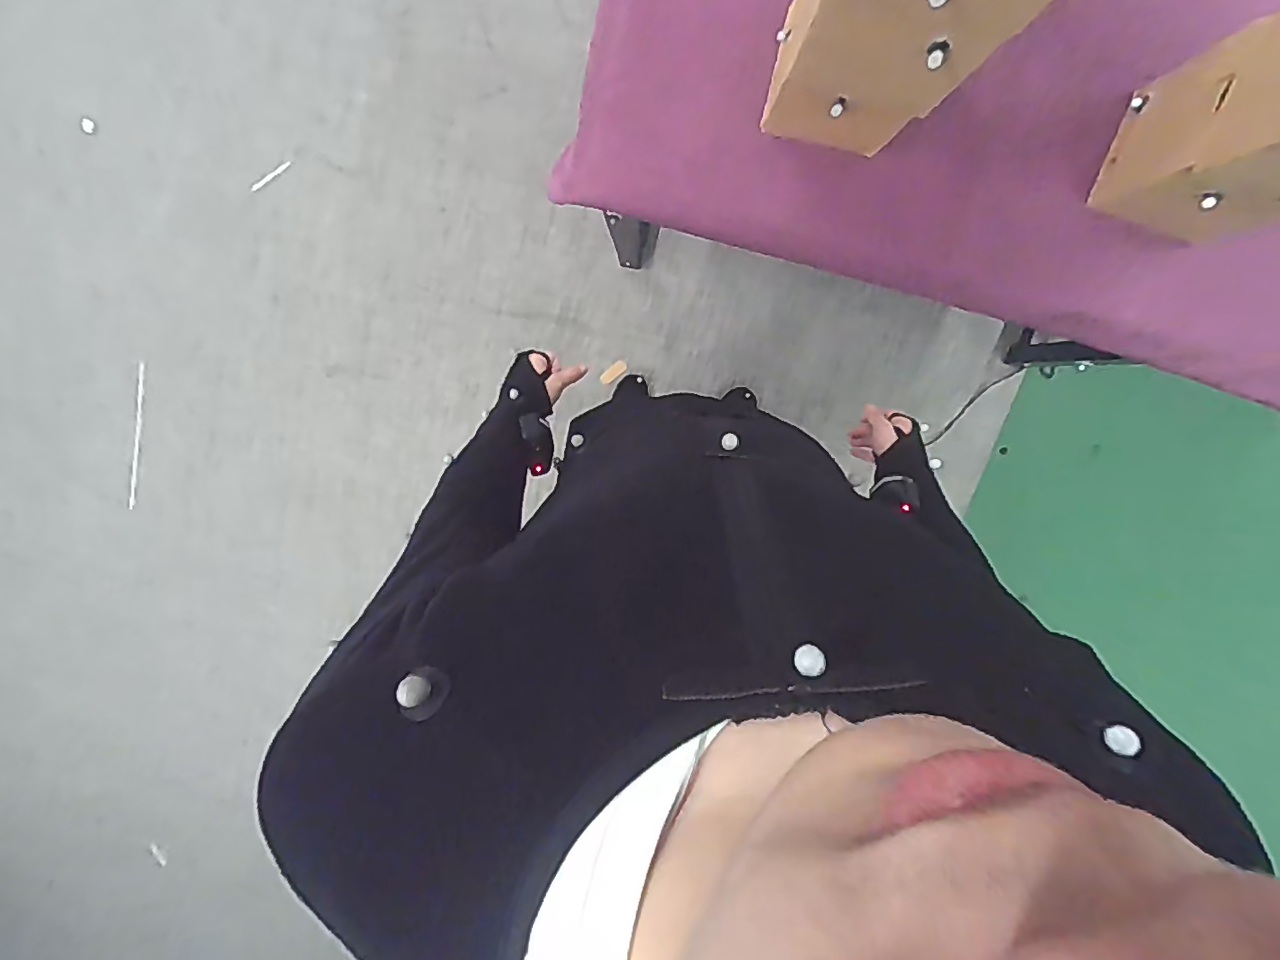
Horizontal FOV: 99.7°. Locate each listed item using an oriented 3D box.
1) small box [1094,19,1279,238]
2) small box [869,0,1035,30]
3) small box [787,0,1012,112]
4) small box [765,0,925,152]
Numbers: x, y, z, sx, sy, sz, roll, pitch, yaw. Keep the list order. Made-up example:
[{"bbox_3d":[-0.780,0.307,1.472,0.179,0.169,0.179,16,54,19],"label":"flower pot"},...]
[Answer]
[{"bbox_3d":[0.764,-0.439,0.709,0.179,0.176,0.168,18,101,-1],"label":"small box"},{"bbox_3d":[0.265,-0.479,0.393,0.179,0.176,0.168,14,101,-1],"label":"small box"},{"bbox_3d":[0.272,-0.514,0.552,0.179,0.176,0.168,15,101,0],"label":"small box"},{"bbox_3d":[0.281,-0.561,0.711,0.179,0.176,0.168,13,102,1],"label":"small box"}]
